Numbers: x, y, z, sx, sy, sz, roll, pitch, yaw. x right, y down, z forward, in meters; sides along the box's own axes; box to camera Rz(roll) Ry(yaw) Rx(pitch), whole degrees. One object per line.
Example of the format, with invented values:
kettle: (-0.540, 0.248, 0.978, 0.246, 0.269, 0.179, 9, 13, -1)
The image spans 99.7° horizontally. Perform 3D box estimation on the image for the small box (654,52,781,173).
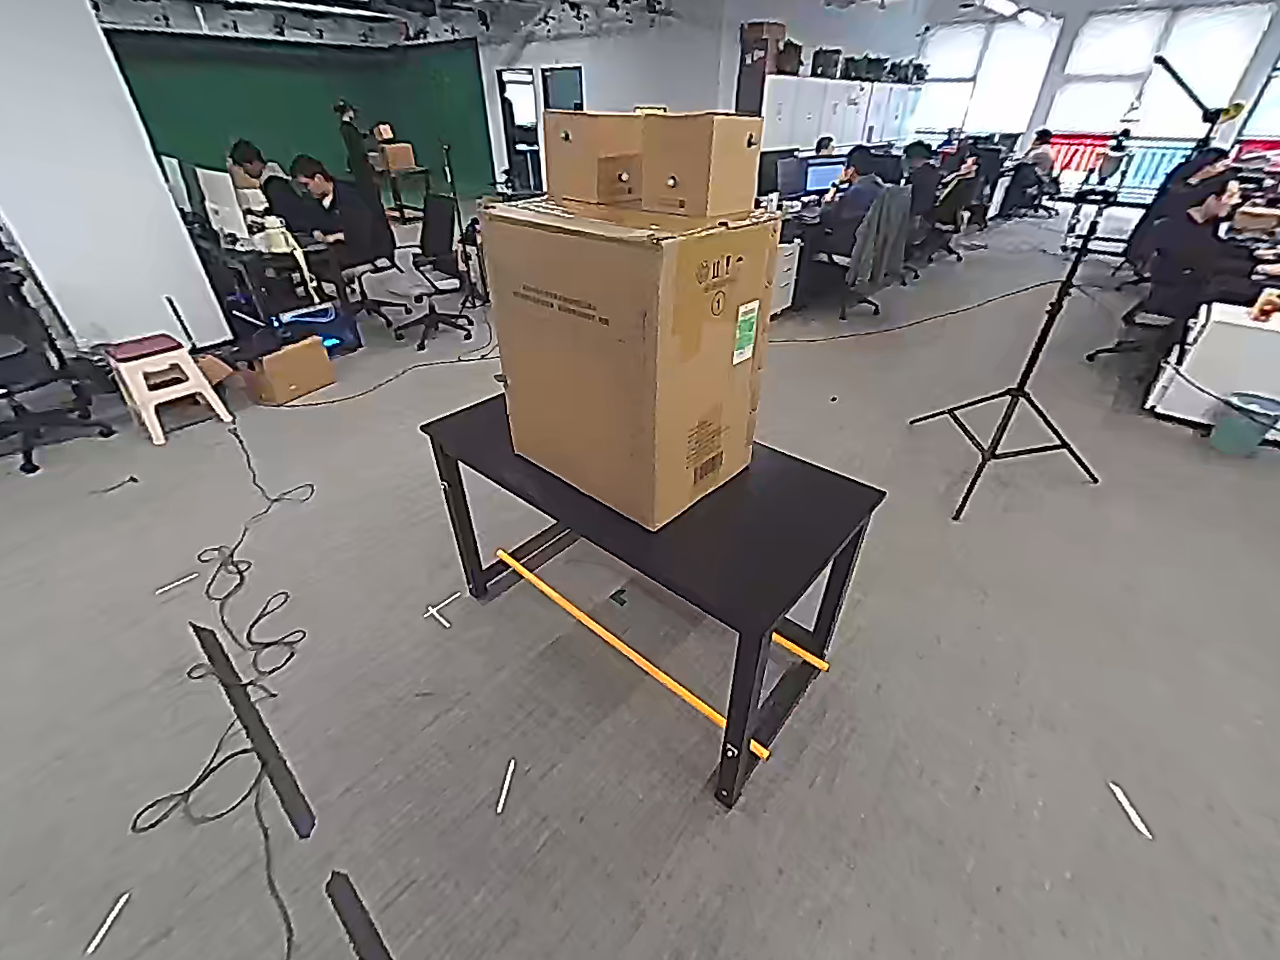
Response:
small box: (0.135, -0.673, 1.000, 0.168, 0.176, 0.179, 25, 40, 33)

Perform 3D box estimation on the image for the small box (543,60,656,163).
small box: (-0.087, -0.777, 1.148, 0.179, 0.176, 0.168, 29, 43, 32)
